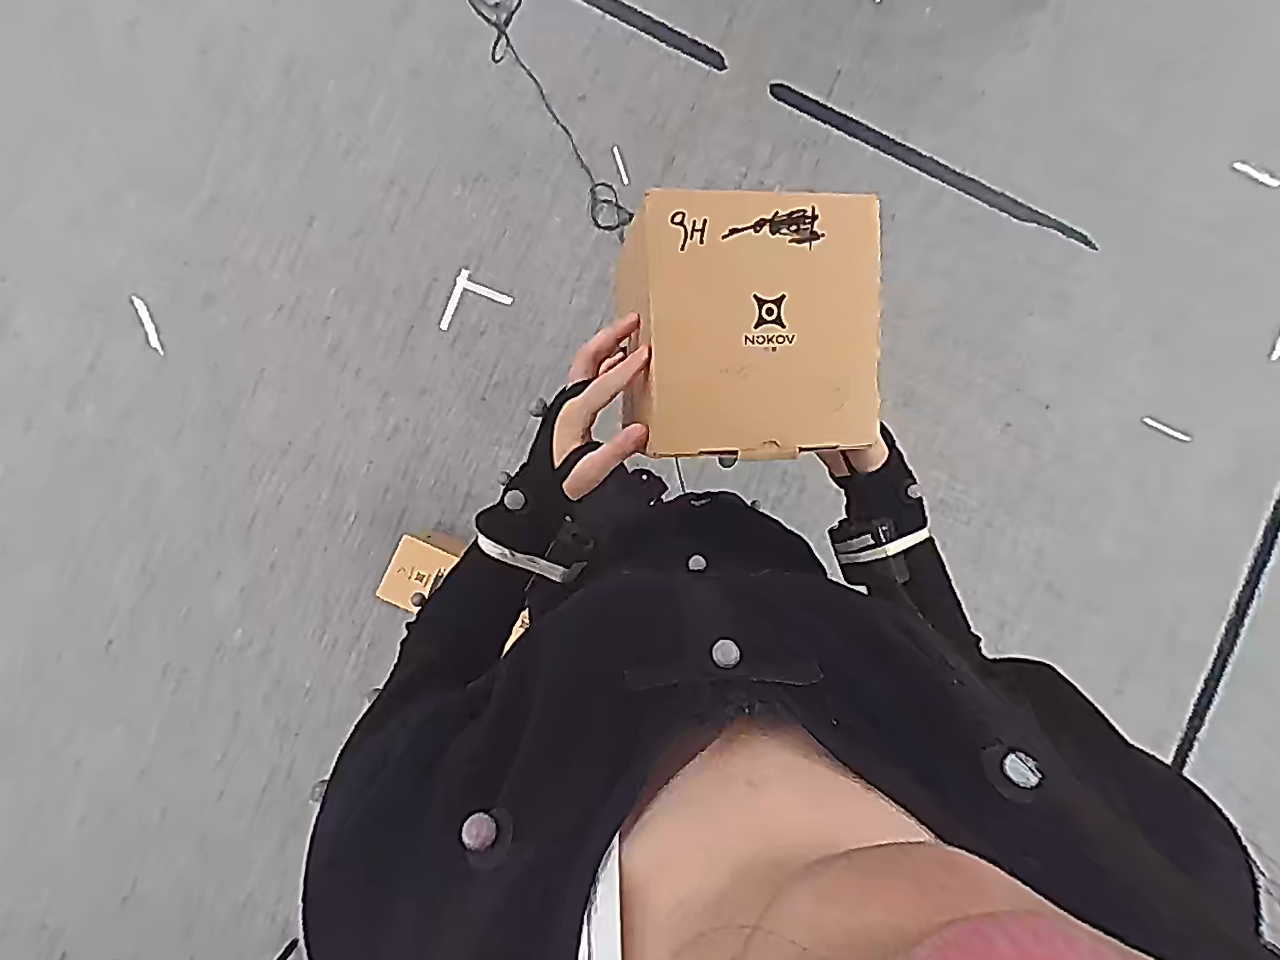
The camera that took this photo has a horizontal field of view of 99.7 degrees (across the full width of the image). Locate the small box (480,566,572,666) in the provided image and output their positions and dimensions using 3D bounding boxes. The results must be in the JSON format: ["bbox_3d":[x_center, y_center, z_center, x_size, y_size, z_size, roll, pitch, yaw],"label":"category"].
[{"bbox_3d":[-0.284,0.341,1.392,0.168,0.176,0.179,26,88,-4],"label":"small box"}]

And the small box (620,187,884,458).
[{"bbox_3d":[0.075,-0.114,0.446,0.168,0.176,0.179,-3,97,-9],"label":"small box"}]
